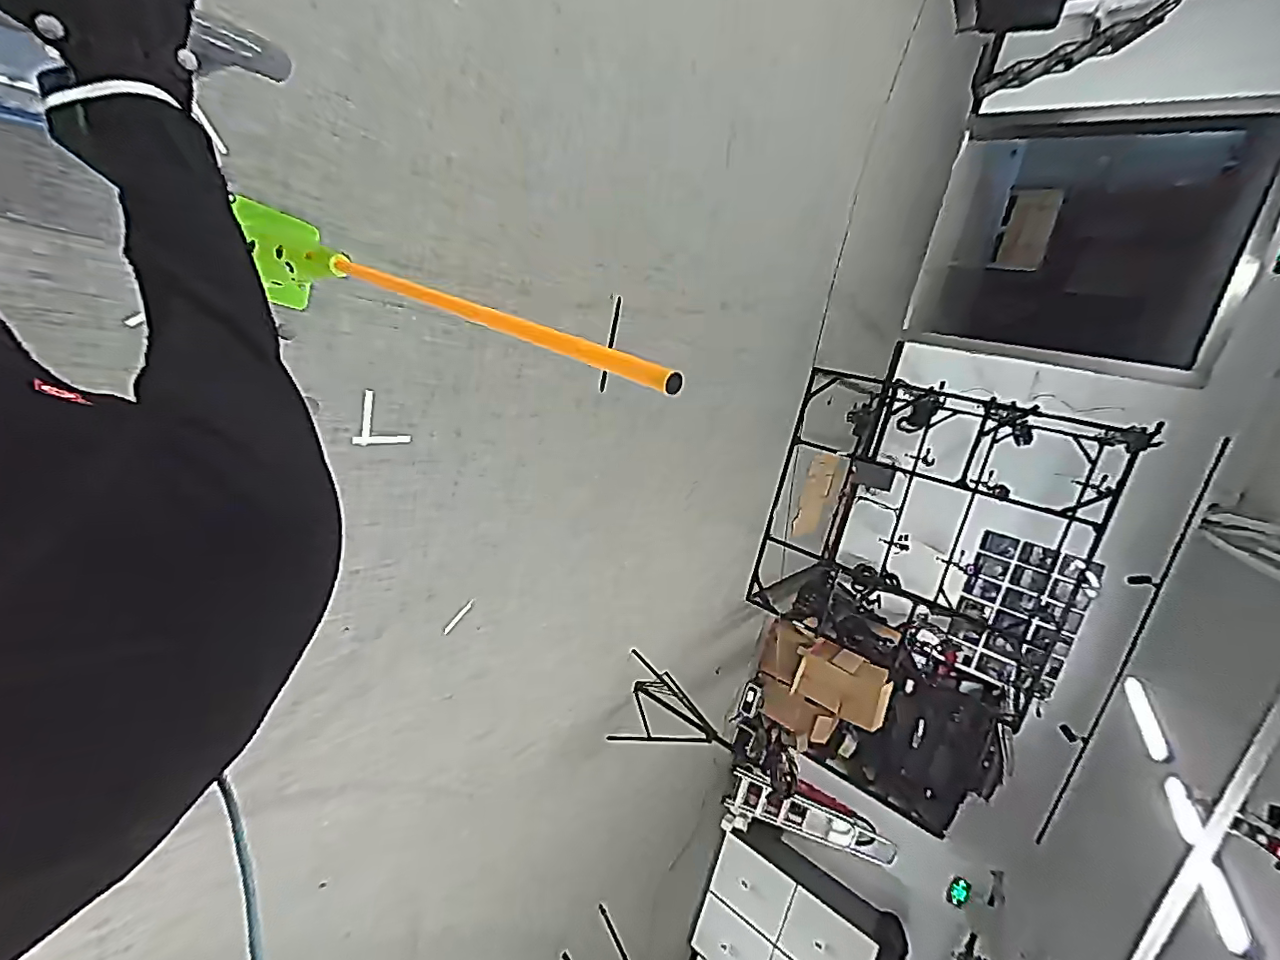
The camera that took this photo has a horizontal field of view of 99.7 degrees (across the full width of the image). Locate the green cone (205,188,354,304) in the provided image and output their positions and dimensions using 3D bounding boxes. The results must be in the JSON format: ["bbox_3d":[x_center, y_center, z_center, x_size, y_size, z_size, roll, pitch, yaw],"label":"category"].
[{"bbox_3d":[-0.715,-0.466,1.129,0.202,0.368,0.200,2,106,-57],"label":"green cone"}]
